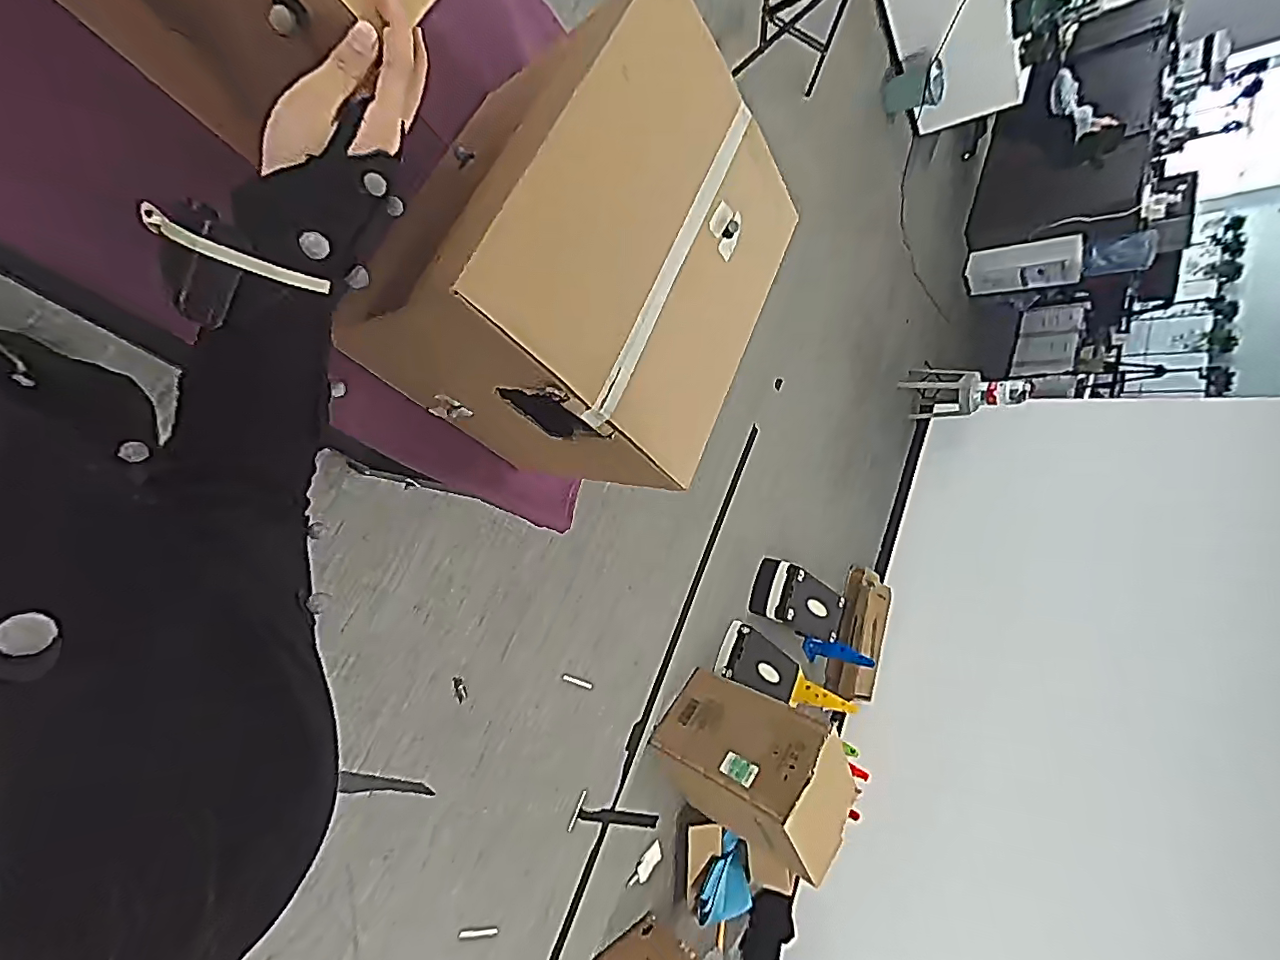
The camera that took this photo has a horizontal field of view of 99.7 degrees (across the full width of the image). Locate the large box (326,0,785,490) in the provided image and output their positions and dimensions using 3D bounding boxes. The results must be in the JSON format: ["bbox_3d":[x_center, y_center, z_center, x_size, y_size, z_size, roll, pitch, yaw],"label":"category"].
[{"bbox_3d":[-0.080,-0.239,0.637,0.320,0.320,0.408,40,66,-43],"label":"large box"}]
